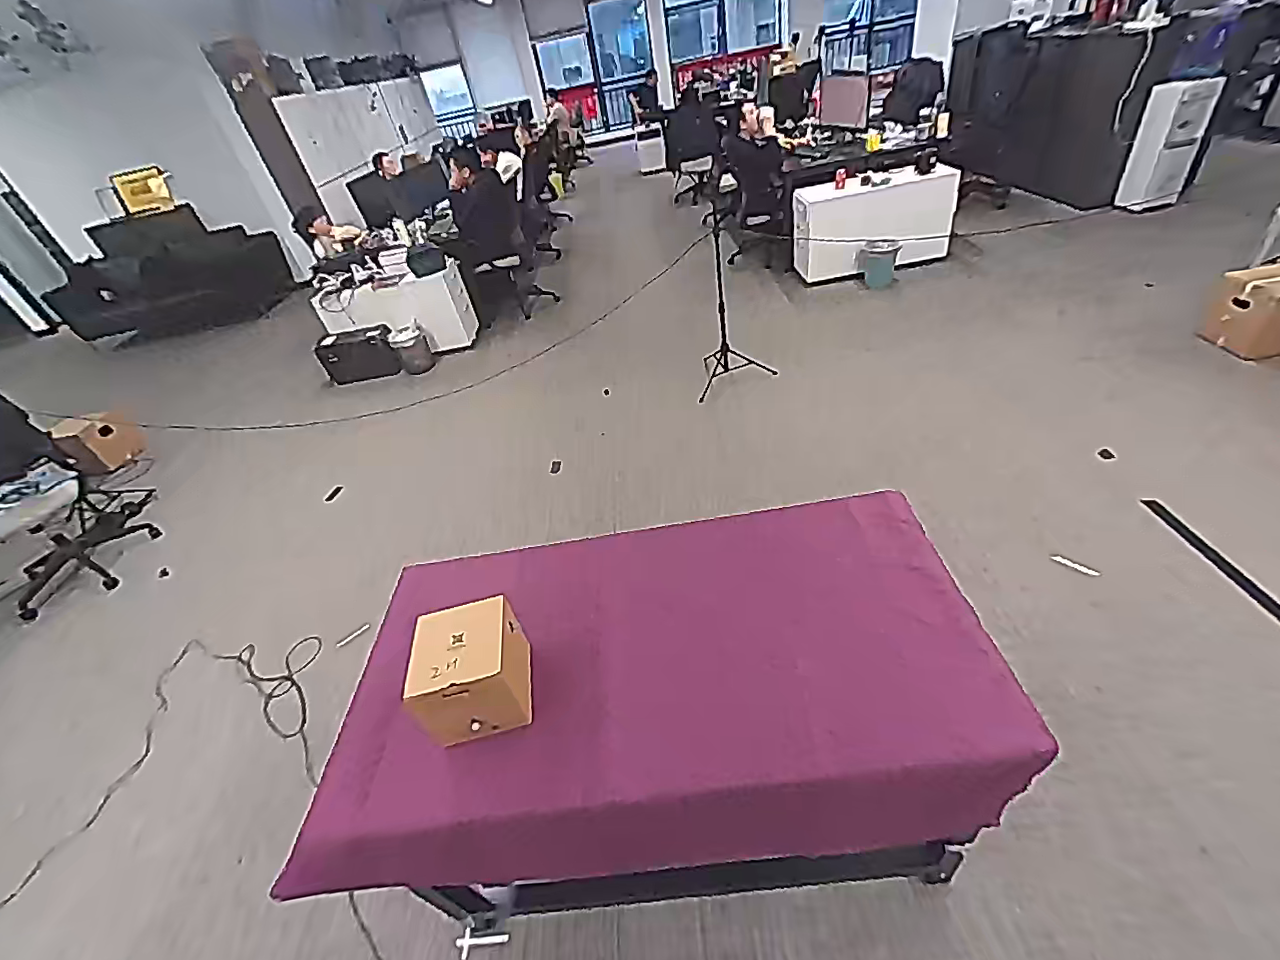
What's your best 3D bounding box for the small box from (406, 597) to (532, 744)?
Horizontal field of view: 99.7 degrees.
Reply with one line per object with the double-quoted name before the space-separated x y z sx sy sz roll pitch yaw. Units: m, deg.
"small box" -0.304 0.352 1.000 0.168 0.176 0.179 -14 38 -1
